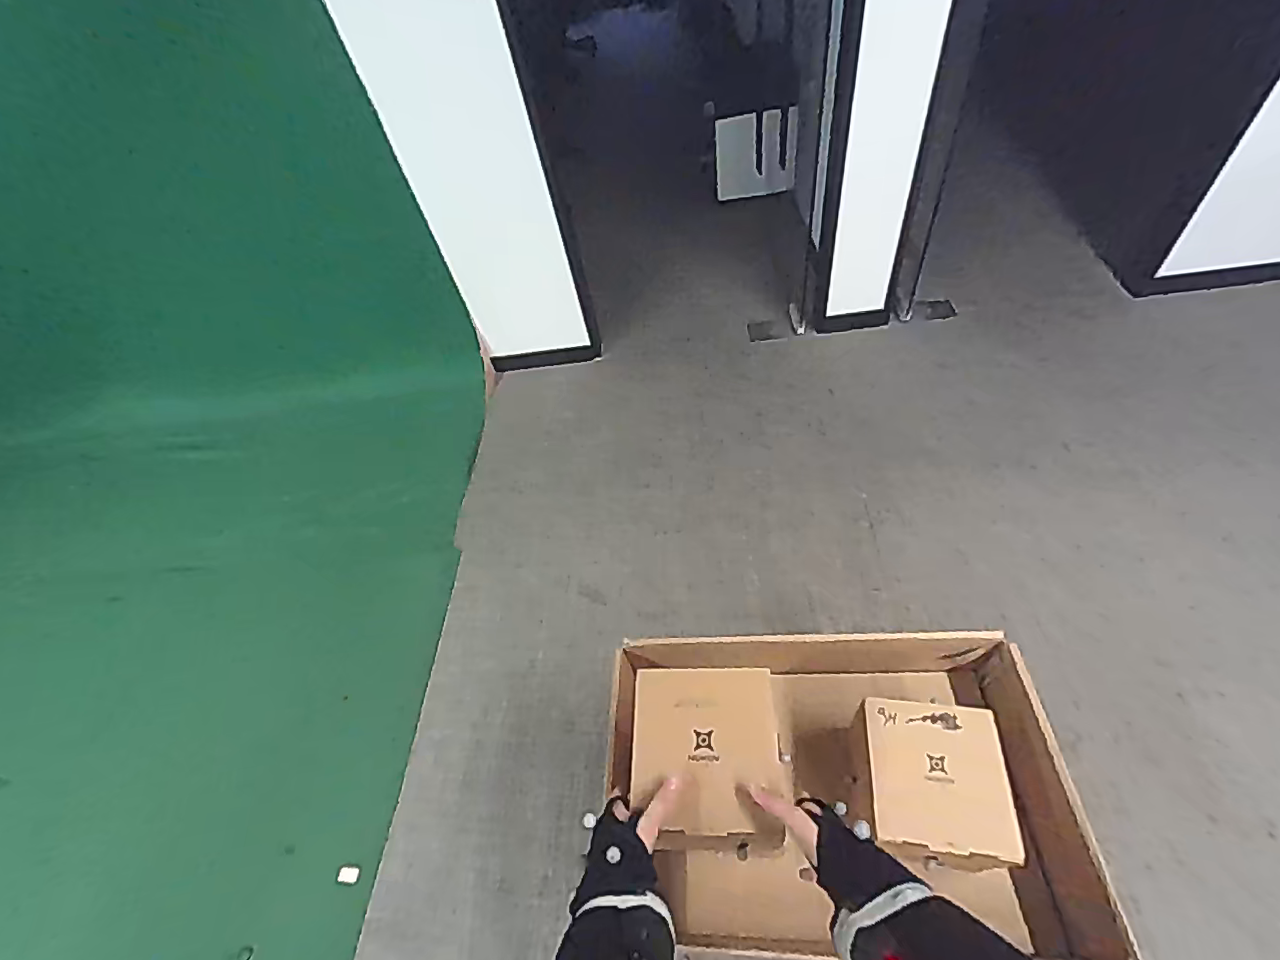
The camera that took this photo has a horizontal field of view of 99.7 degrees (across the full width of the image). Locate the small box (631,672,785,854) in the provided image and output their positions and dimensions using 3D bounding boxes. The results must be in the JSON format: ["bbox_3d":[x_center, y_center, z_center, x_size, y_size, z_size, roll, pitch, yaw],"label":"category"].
[{"bbox_3d":[0.089,0.355,0.676,0.168,0.176,0.179,-4,50,10],"label":"small box"}]
